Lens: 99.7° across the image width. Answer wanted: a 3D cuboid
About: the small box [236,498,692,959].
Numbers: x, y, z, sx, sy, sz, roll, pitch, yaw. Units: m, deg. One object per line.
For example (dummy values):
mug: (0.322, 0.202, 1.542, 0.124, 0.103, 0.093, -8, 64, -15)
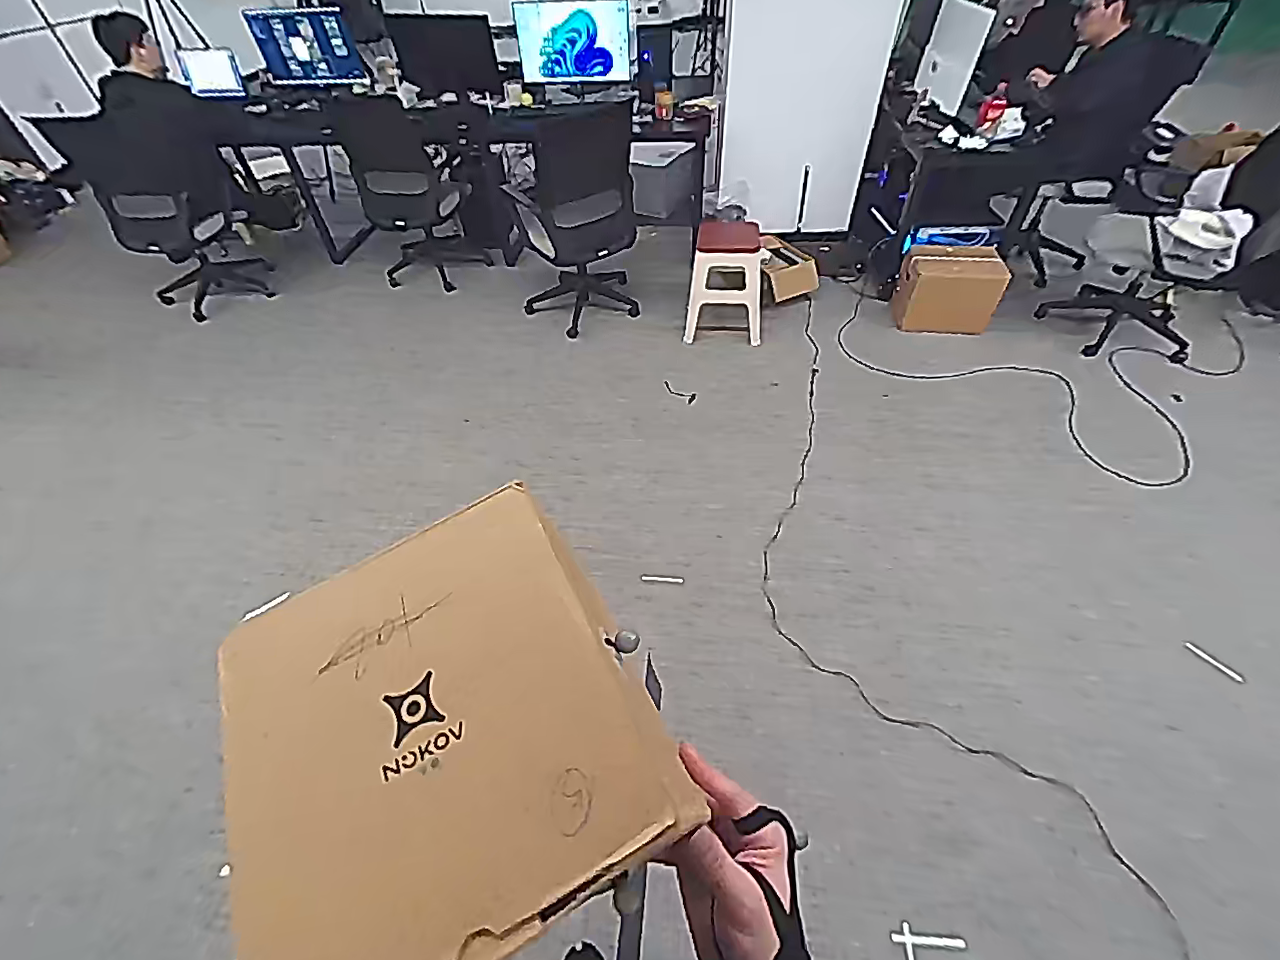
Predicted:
small box: (-0.082, 0.148, 0.310, 0.168, 0.176, 0.179, -29, 58, -8)
